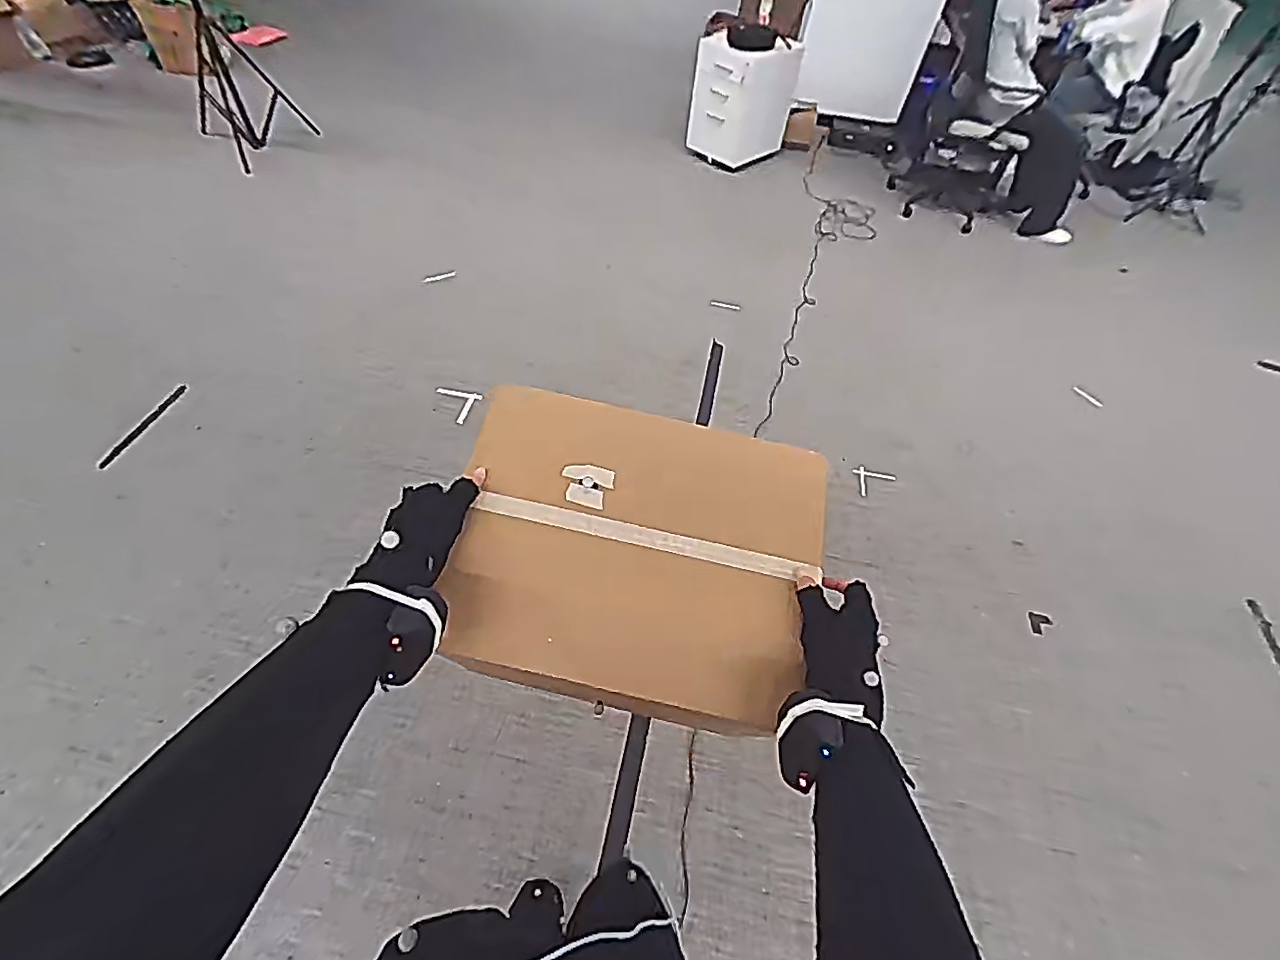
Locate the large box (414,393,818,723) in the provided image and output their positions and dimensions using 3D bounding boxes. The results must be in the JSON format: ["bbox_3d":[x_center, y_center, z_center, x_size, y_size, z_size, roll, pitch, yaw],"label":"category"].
[{"bbox_3d":[-0.012,0.127,0.734,0.408,0.320,0.320,13,64,2],"label":"large box"}]
